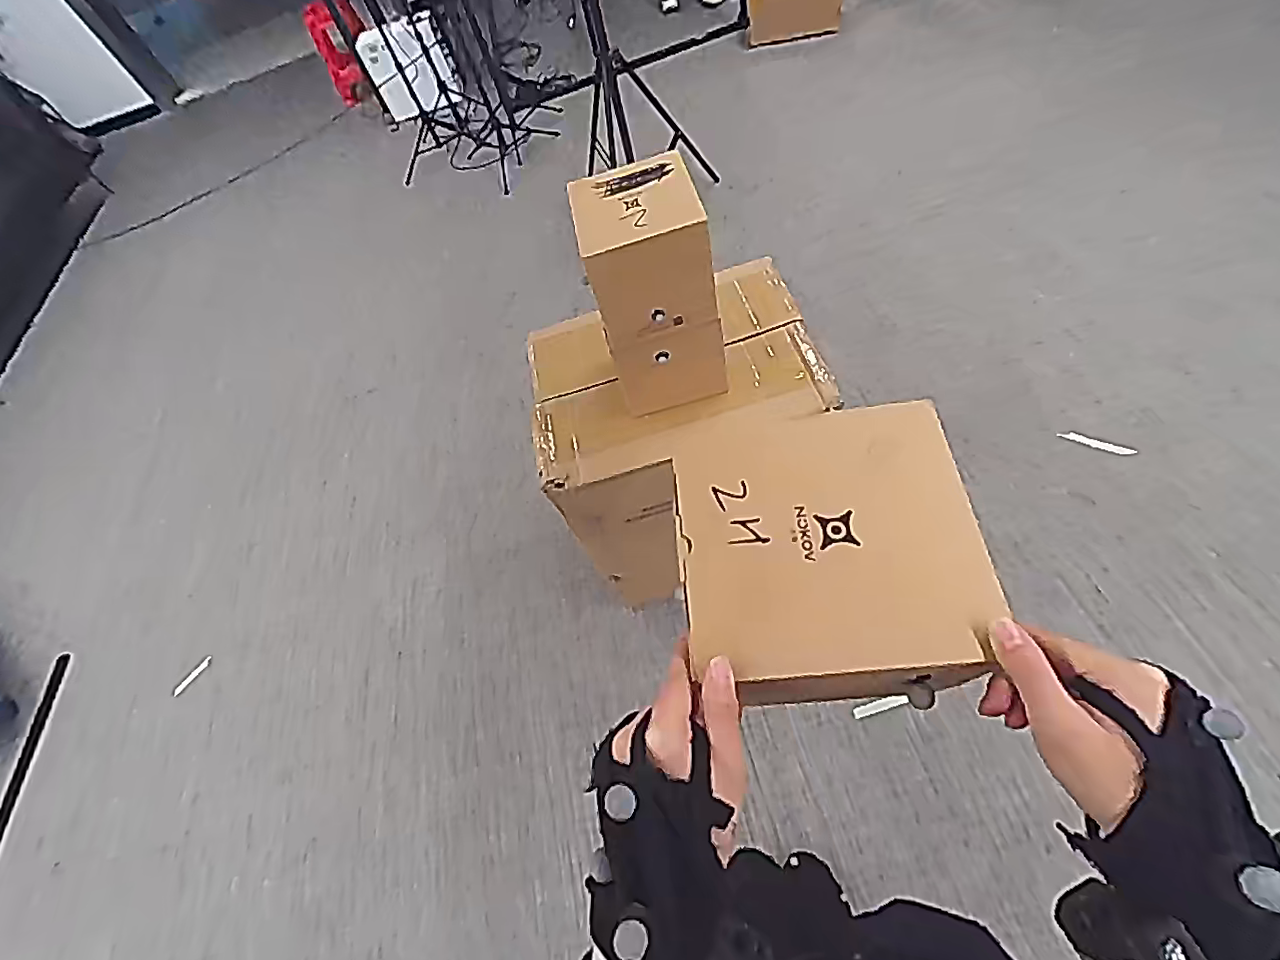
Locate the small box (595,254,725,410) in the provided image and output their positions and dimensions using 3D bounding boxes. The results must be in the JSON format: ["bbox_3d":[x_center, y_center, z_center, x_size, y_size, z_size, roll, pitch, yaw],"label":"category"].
[{"bbox_3d":[0.037,-0.244,0.922,0.179,0.176,0.168,-15,57,4],"label":"small box"}]

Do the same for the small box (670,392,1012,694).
[{"bbox_3d":[0.122,0.059,0.401,0.179,0.176,0.168,-8,62,8],"label":"small box"}]
